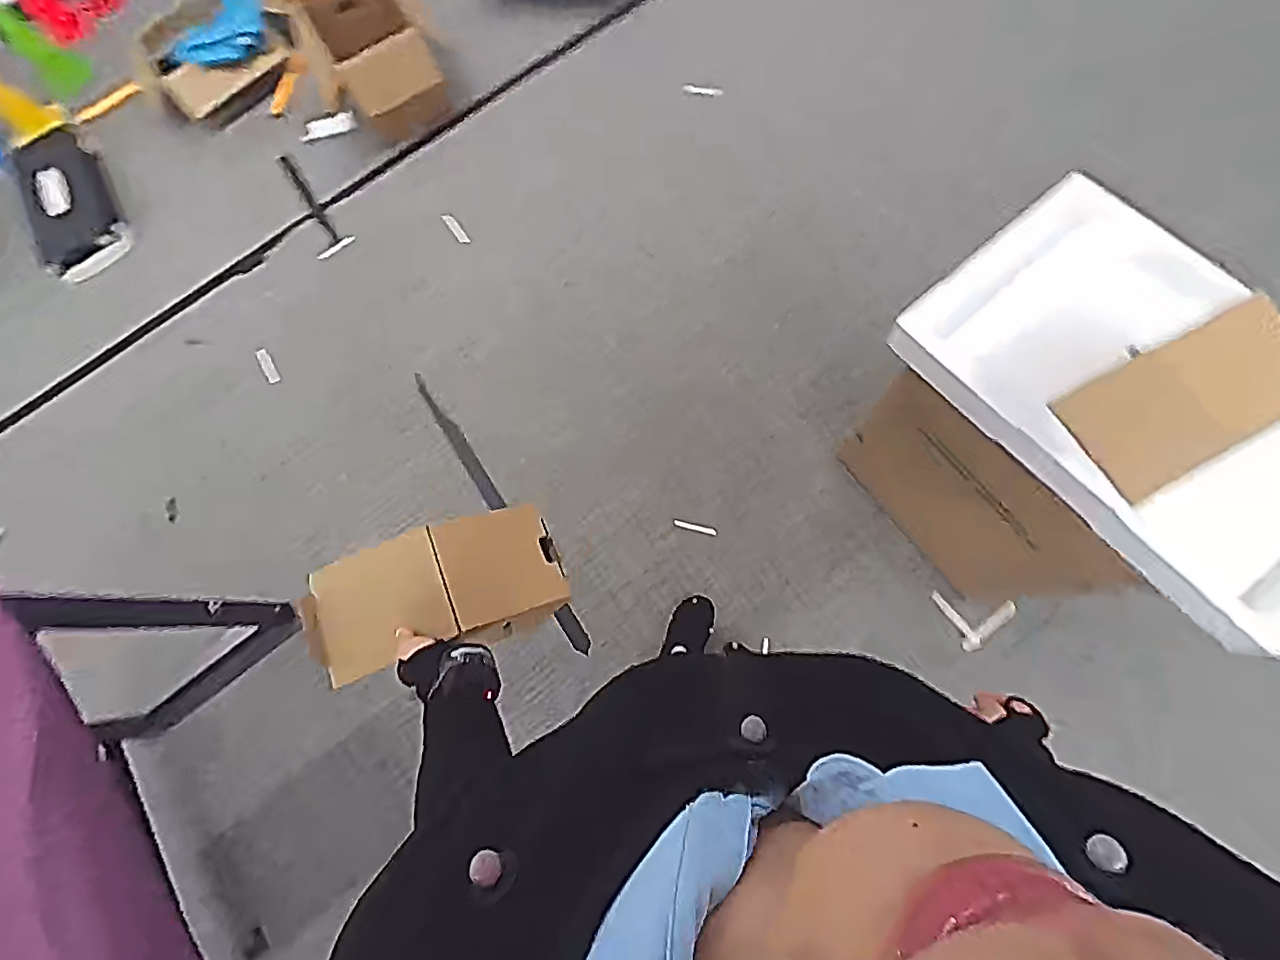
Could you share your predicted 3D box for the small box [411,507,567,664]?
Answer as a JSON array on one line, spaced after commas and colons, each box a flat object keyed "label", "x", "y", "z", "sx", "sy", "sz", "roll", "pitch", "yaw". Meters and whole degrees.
[{"label": "small box", "x": -0.243, "y": 0.165, "z": 0.837, "sx": 0.179, "sy": 0.176, "sz": 0.168, "roll": -12, "pitch": 68, "yaw": -37}]
